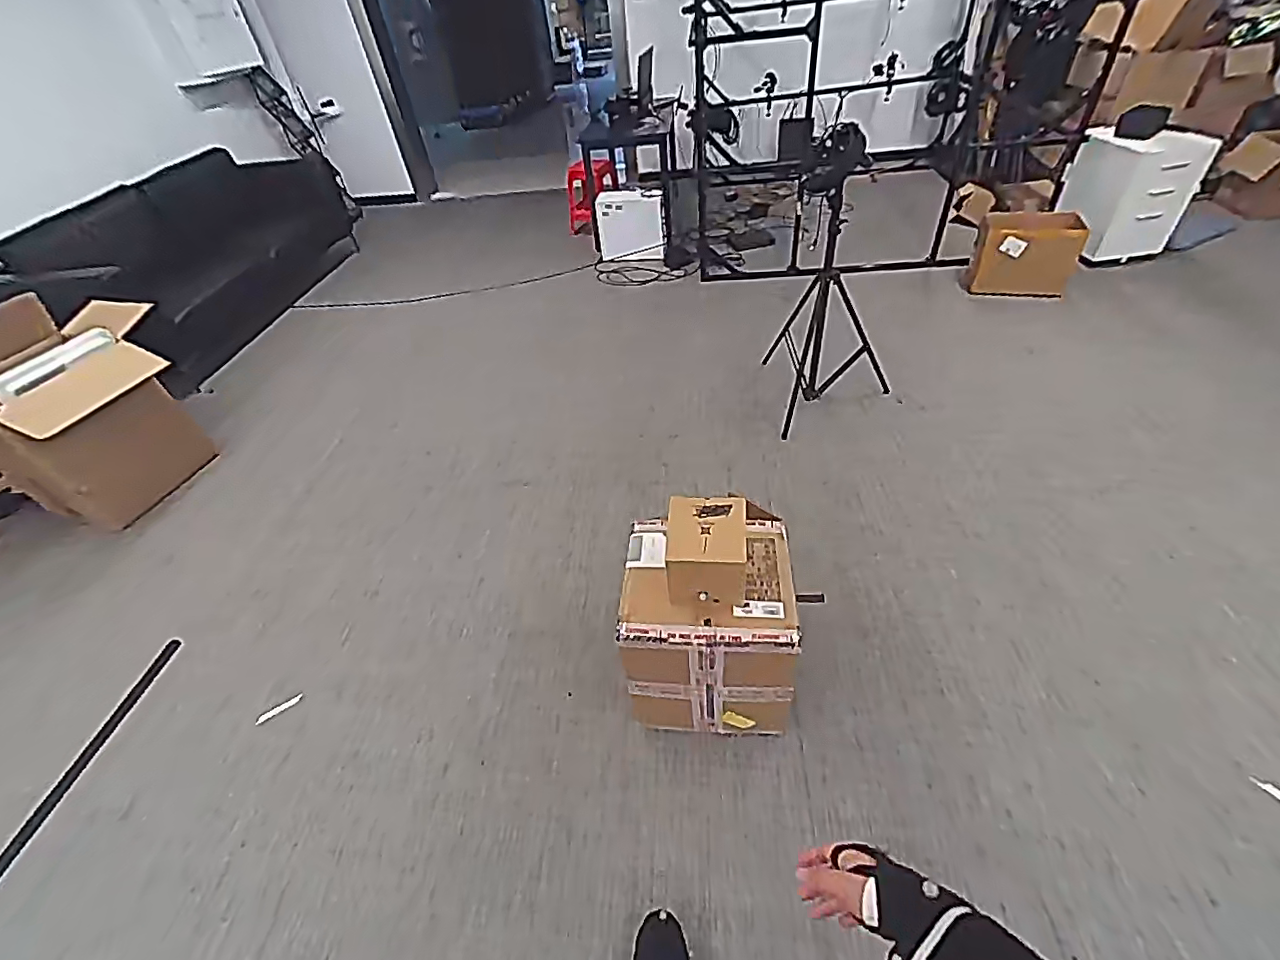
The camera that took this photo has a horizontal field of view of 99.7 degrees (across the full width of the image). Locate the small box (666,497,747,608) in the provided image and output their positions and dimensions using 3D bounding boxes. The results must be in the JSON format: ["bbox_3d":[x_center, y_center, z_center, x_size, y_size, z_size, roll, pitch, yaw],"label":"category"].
[{"bbox_3d":[0.149,0.159,1.192,0.168,0.176,0.179,1,47,9],"label":"small box"}]
